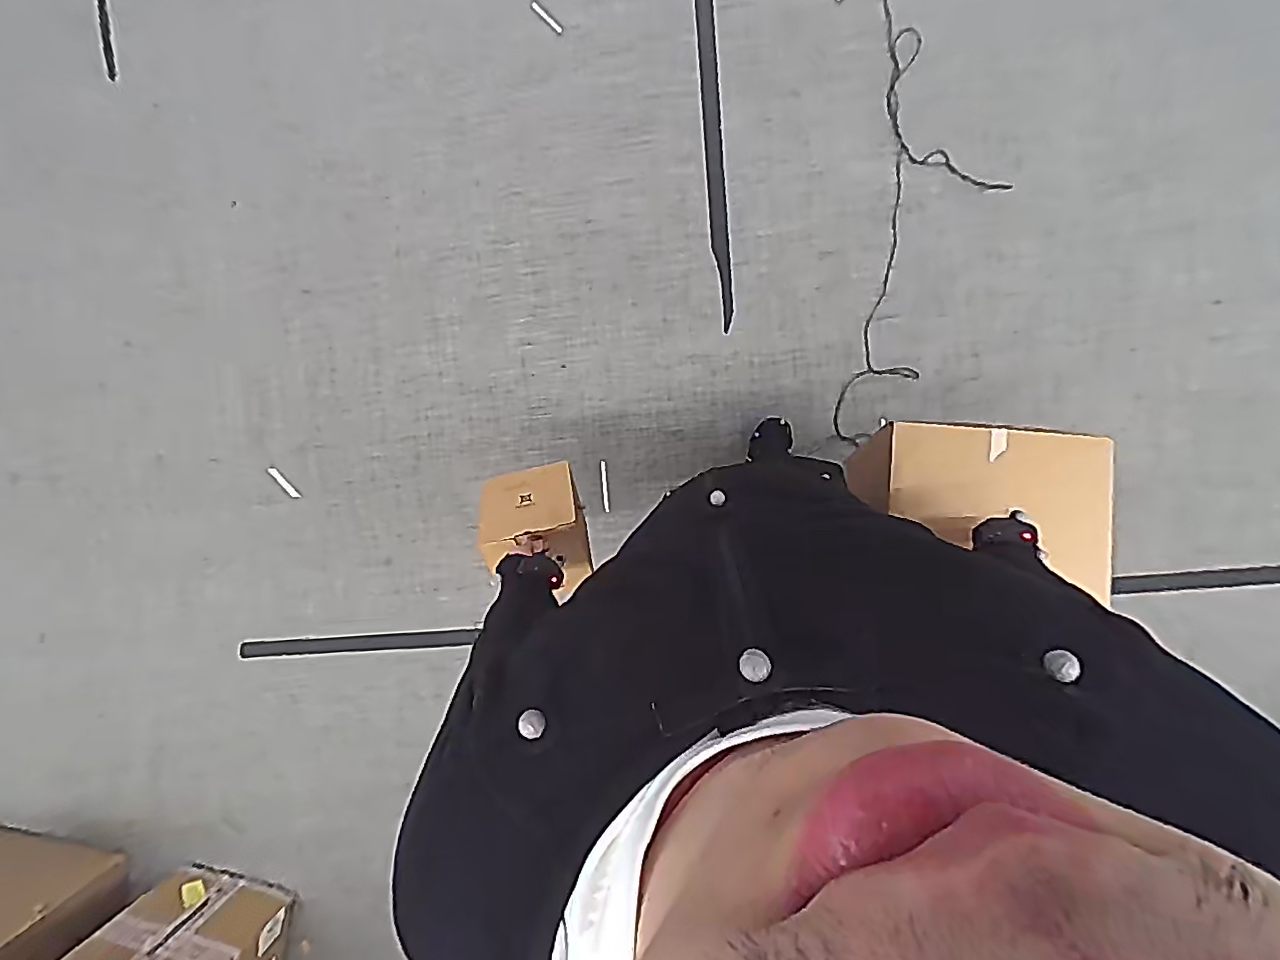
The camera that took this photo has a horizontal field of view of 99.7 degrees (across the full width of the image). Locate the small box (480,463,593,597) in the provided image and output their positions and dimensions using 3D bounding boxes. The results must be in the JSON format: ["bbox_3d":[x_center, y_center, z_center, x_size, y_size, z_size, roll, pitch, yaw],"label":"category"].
[{"bbox_3d":[-0.188,0.098,1.005,0.168,0.179,0.176,-13,128,-4],"label":"small box"}]
